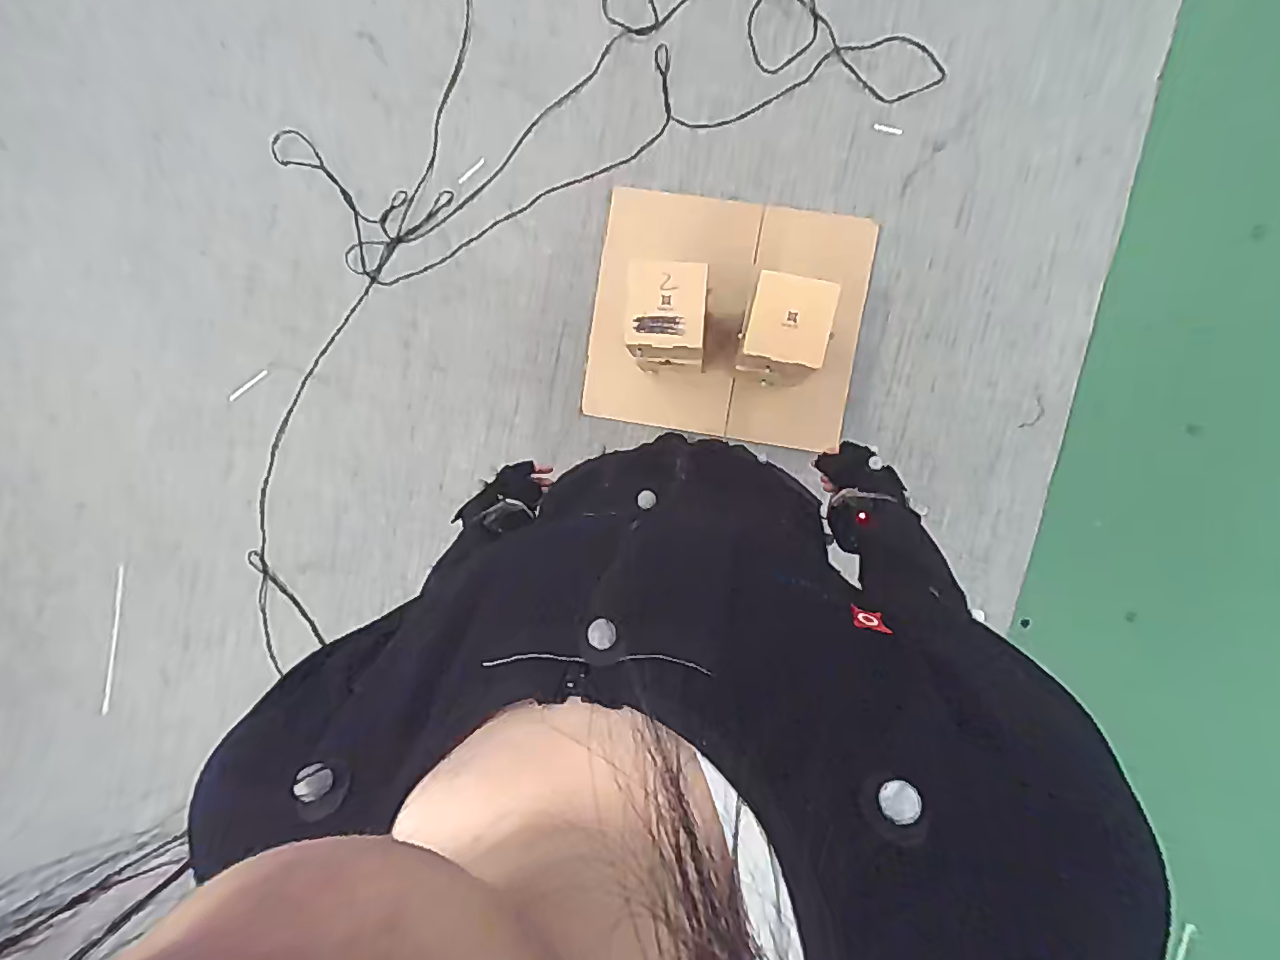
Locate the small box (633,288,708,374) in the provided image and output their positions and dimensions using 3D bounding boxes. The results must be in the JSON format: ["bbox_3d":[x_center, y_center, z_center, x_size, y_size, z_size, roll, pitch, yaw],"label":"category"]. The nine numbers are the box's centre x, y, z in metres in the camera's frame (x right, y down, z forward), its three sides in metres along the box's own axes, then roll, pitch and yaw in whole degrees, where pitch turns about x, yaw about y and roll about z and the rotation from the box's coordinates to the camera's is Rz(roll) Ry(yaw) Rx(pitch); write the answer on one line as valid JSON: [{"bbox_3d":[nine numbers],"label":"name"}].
[{"bbox_3d":[0.080,-0.366,1.355,0.168,0.176,0.179,5,94,5],"label":"small box"}]

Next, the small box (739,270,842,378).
[{"bbox_3d":[0.316,-0.331,1.175,0.168,0.176,0.179,13,96,5],"label":"small box"}]

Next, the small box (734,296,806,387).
[{"bbox_3d":[0.329,-0.335,1.337,0.168,0.176,0.179,10,95,6],"label":"small box"}]
